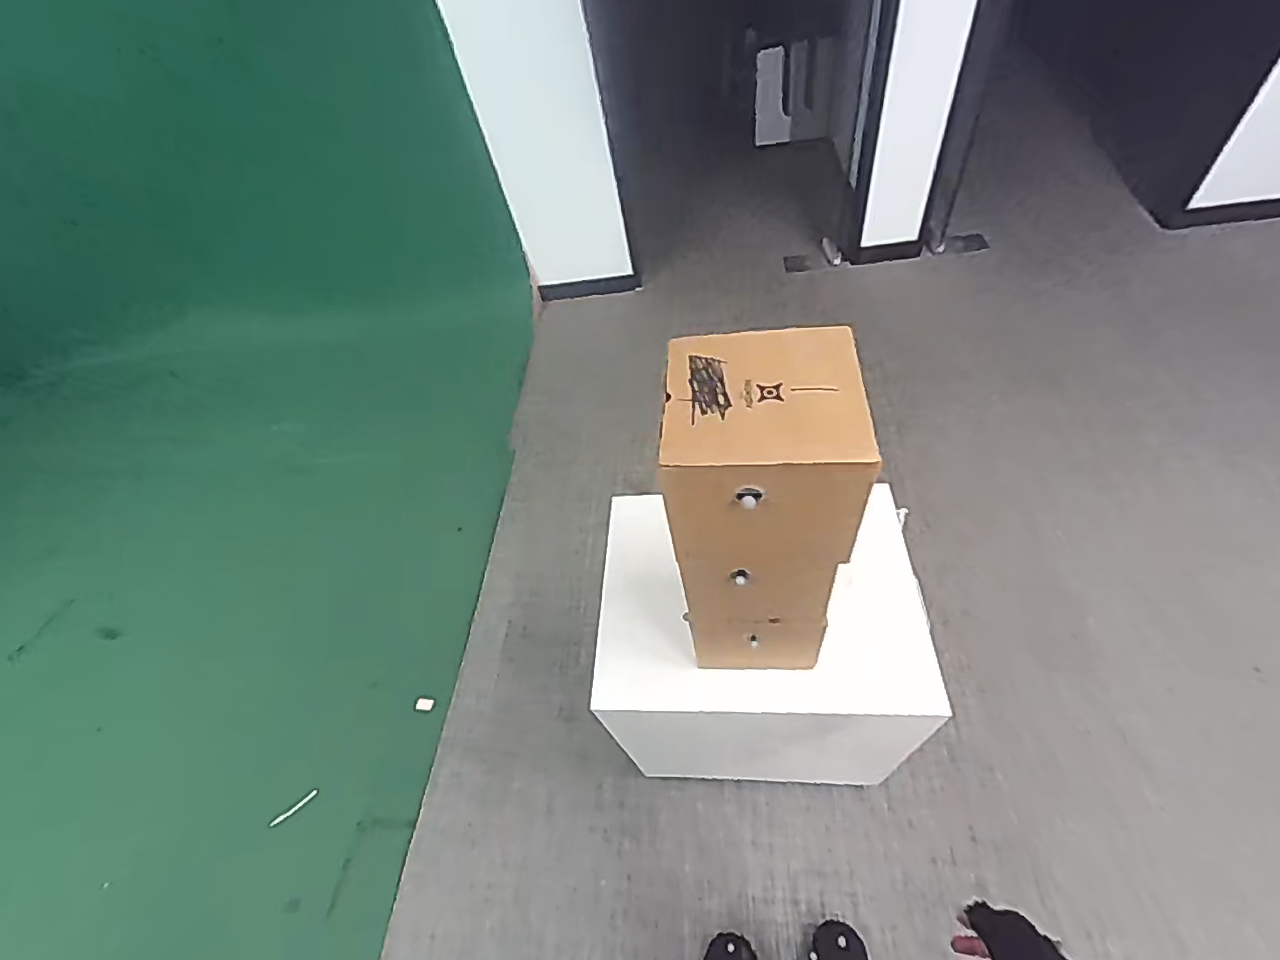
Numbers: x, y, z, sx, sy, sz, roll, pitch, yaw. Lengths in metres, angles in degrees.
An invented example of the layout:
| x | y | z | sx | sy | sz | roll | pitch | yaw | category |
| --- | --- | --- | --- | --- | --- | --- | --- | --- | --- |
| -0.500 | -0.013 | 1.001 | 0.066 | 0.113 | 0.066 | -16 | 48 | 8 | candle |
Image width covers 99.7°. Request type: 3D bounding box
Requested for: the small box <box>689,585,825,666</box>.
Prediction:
| x | y | z | sx | sy | sz | roll | pitch | yaw | category |
| --- | --- | --- | --- | --- | --- | --- | --- | --- | --- |
| 0.168 | 0.170 | 0.806 | 0.179 | 0.176 | 0.168 | -3 | 53 | 9 | small box |

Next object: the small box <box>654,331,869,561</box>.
| x | y | z | sx | sy | sz | roll | pitch | yaw | category |
| --- | --- | --- | --- | --- | --- | --- | --- | --- | --- |
| 0.118 | -0.027 | 0.549 | 0.179 | 0.176 | 0.168 | -1 | 53 | 11 | small box |

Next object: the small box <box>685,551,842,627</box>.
| x | y | z | sx | sy | sz | roll | pitch | yaw | category |
| --- | --- | --- | --- | --- | --- | --- | --- | --- | --- |
| 0.143 | 0.070 | 0.682 | 0.168 | 0.176 | 0.179 | -4 | 53 | 8 | small box |
